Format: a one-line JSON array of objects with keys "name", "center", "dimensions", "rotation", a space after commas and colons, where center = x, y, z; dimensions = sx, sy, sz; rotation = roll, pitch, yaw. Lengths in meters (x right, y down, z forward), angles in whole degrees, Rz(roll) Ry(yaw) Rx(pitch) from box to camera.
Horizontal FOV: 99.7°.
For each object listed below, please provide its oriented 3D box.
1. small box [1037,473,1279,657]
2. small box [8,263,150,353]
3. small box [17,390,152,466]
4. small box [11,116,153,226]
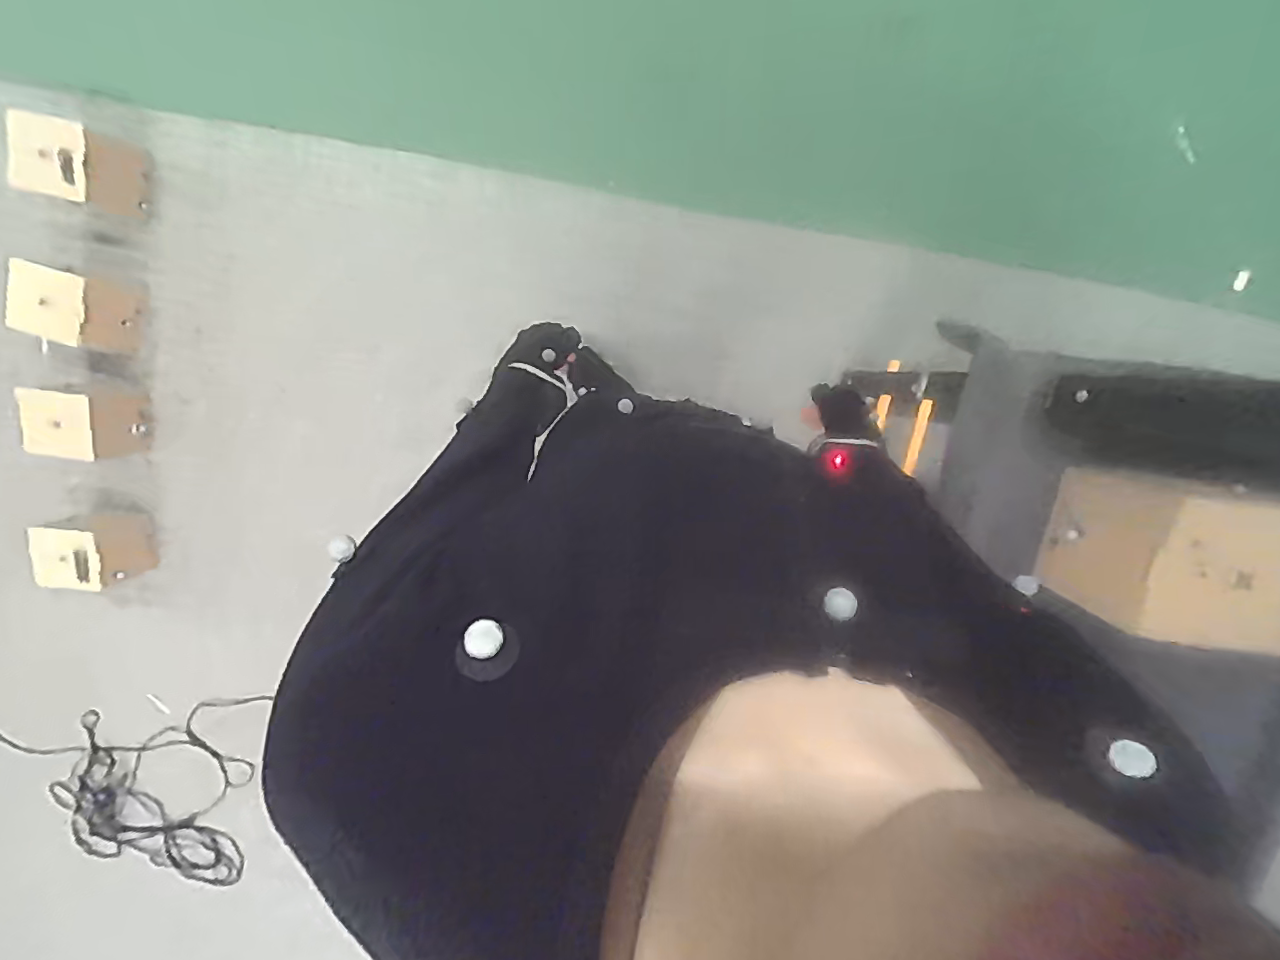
[{"name": "small box", "center": [0.648, 0.093, 0.664], "dimensions": [0.179, 0.176, 0.168], "rotation": [8, 101, -1]}, {"name": "small box", "center": [-1.387, -0.417, 1.344], "dimensions": [0.179, 0.176, 0.168], "rotation": [16, 101, -3]}, {"name": "small box", "center": [-1.426, -0.140, 1.399], "dimensions": [0.179, 0.176, 0.168], "rotation": [7, 103, -2]}, {"name": "small box", "center": [-1.312, -0.721, 1.283], "dimensions": [0.179, 0.176, 0.168], "rotation": [12, 101, -1]}]
